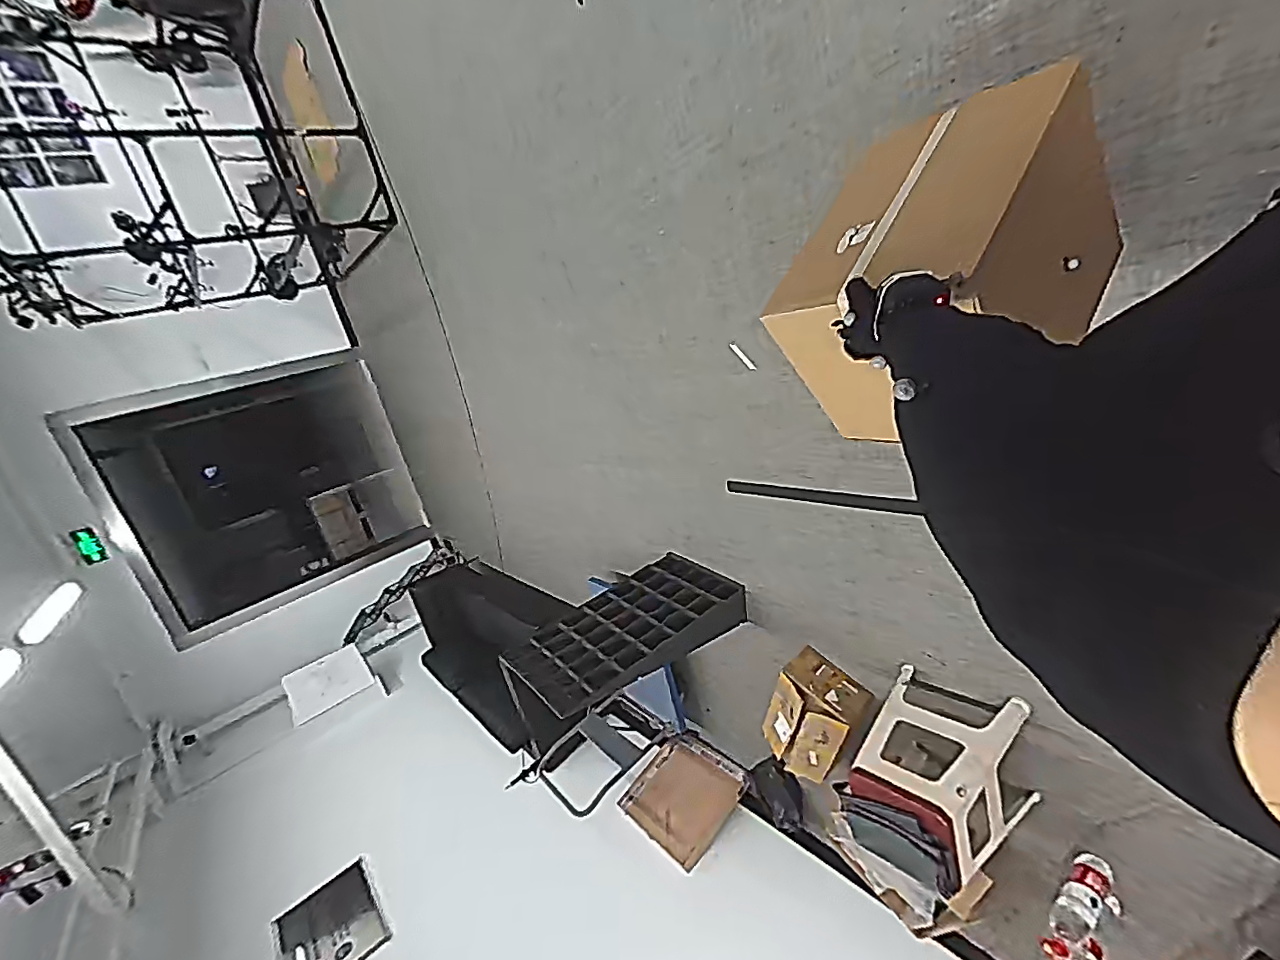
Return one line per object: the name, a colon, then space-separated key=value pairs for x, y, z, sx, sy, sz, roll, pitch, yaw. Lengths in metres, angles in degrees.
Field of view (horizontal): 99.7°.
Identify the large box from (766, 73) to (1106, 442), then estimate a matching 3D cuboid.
large box: x=0.479 y=-0.315 z=0.866 sx=0.320 sy=0.408 sz=0.320 roll=41 pitch=163 yaw=-30
